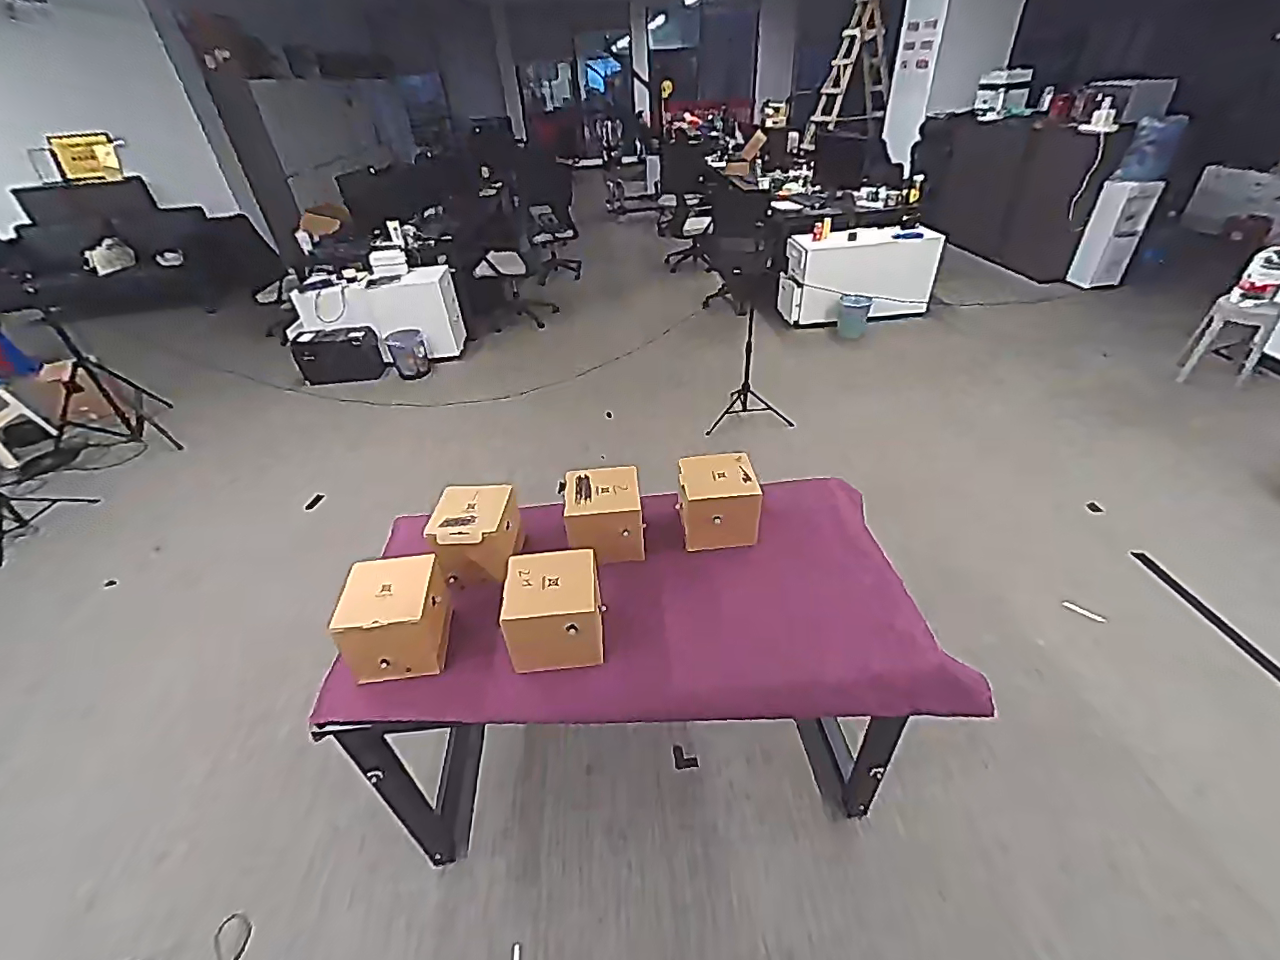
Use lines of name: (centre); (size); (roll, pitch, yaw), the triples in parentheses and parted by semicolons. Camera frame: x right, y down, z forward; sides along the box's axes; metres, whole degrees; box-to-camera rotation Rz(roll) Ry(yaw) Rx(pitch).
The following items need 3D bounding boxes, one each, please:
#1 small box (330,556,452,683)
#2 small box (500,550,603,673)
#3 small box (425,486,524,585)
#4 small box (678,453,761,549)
small box: (-0.489, 0.280, 1.094); (0.168, 0.176, 0.179); (-6, 37, -6)
small box: (-0.167, 0.264, 1.086); (0.179, 0.176, 0.168); (-6, 37, -1)
small box: (-0.381, 0.134, 1.282); (0.168, 0.176, 0.179); (-1, 37, 3)
small box: (0.191, 0.054, 1.329); (0.179, 0.176, 0.168); (-6, 39, -1)
